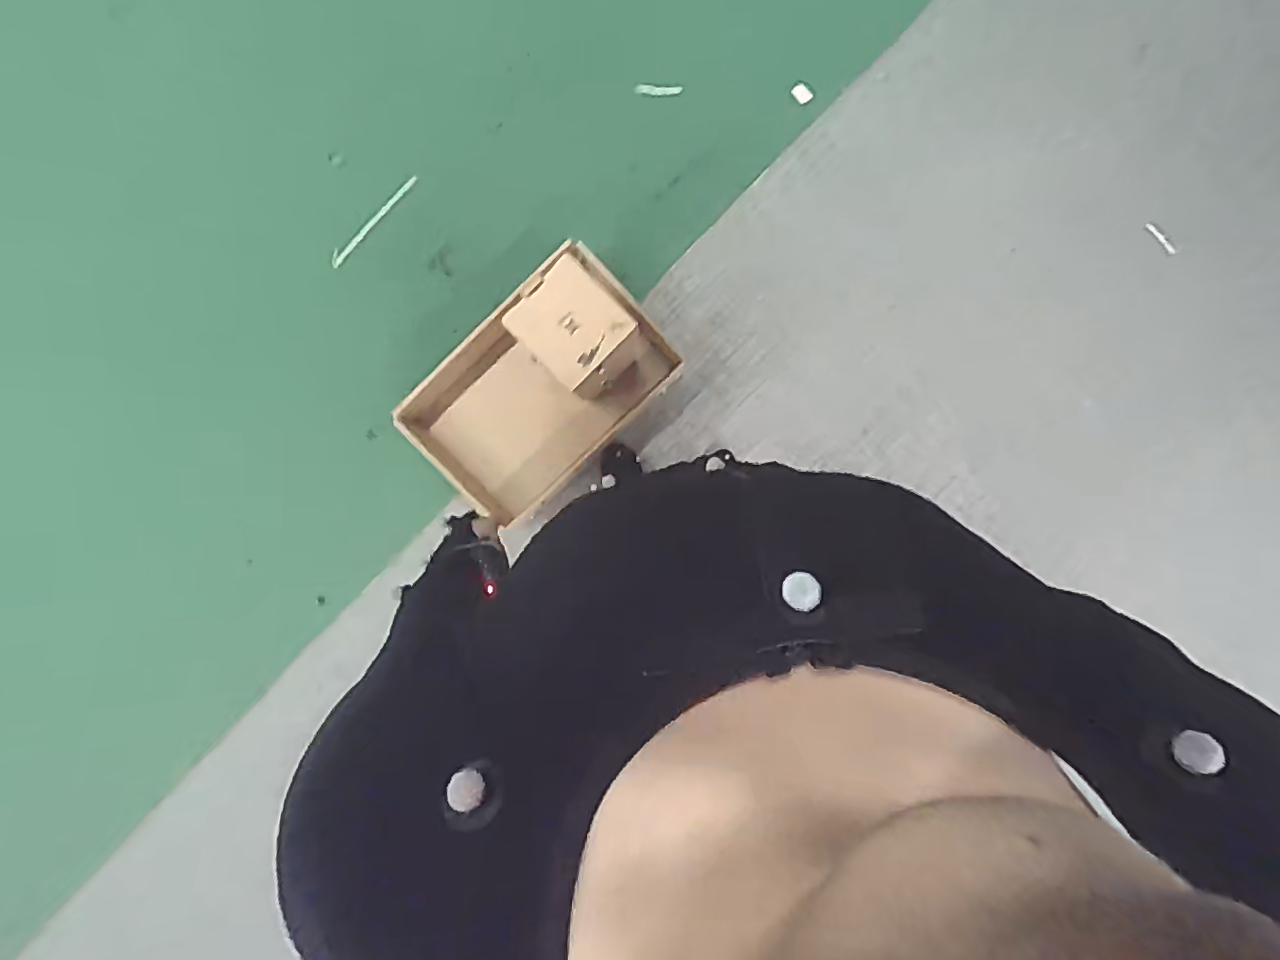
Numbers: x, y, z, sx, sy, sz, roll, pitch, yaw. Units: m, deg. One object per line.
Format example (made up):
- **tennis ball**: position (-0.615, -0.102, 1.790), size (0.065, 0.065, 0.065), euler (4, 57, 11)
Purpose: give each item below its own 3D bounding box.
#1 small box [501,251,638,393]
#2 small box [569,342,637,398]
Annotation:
- **small box**: position (-0.121, -0.276, 0.996), size (0.179, 0.176, 0.168), euler (45, 94, -3)
- **small box**: position (-0.124, -0.290, 1.159), size (0.168, 0.176, 0.179), euler (-42, 95, 3)
